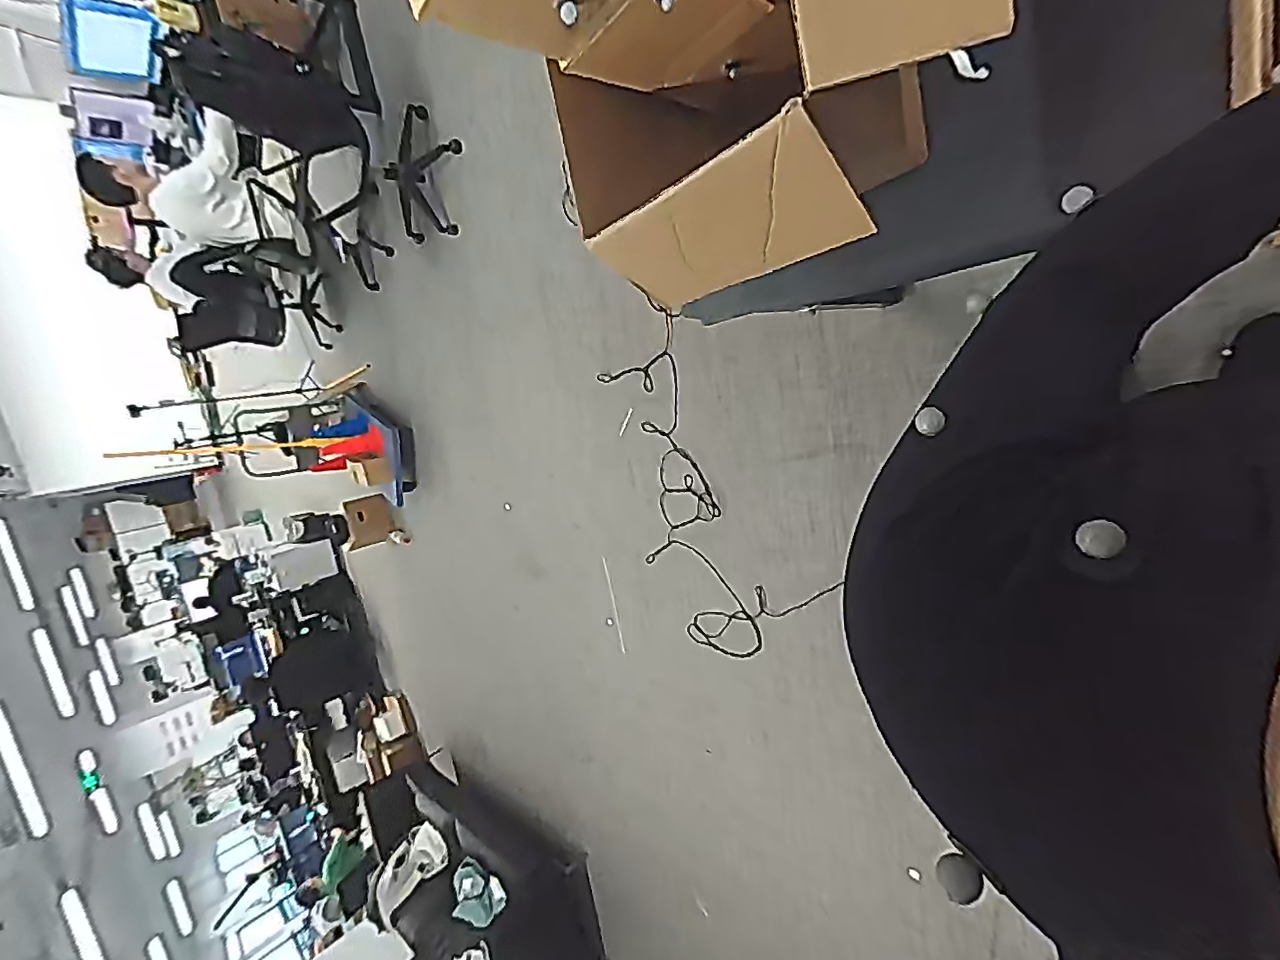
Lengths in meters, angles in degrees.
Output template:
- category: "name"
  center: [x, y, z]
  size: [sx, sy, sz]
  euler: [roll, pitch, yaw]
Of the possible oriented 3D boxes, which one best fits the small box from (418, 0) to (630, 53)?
- category: "small box"
  center: [-0.096, -0.513, 0.455]
  size: [0.168, 0.176, 0.179]
  euler: [-1, 106, 48]
